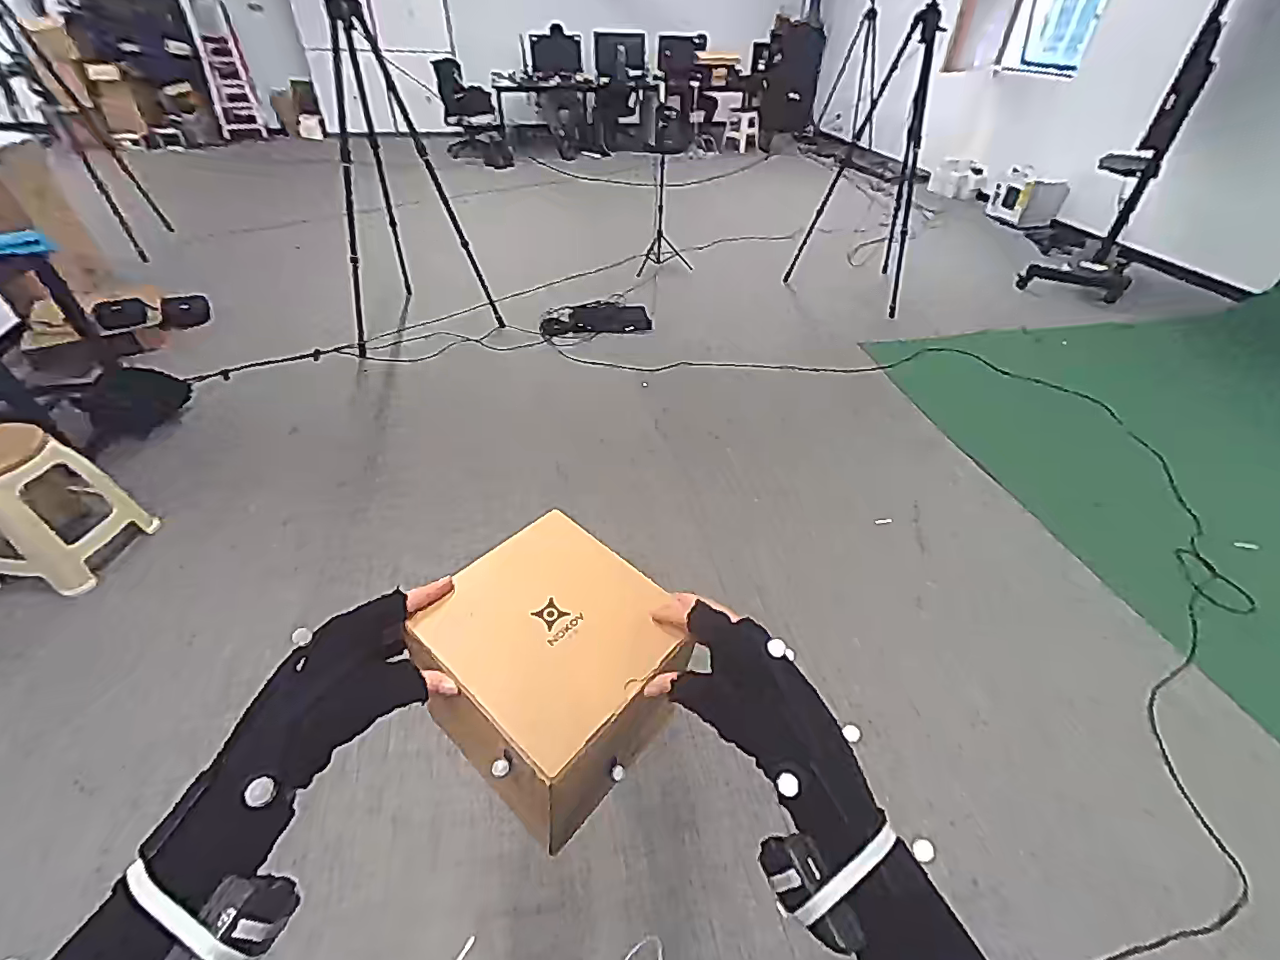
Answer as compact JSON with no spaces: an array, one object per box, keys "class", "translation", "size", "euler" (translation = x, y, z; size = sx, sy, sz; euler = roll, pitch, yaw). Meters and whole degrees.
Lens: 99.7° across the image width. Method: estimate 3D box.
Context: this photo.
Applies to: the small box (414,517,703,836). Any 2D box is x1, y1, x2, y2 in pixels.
[{"class":"small box","translation":[-0.073,0.172,0.487],"size":[0.179,0.176,0.168],"euler":[34,47,26]}]
